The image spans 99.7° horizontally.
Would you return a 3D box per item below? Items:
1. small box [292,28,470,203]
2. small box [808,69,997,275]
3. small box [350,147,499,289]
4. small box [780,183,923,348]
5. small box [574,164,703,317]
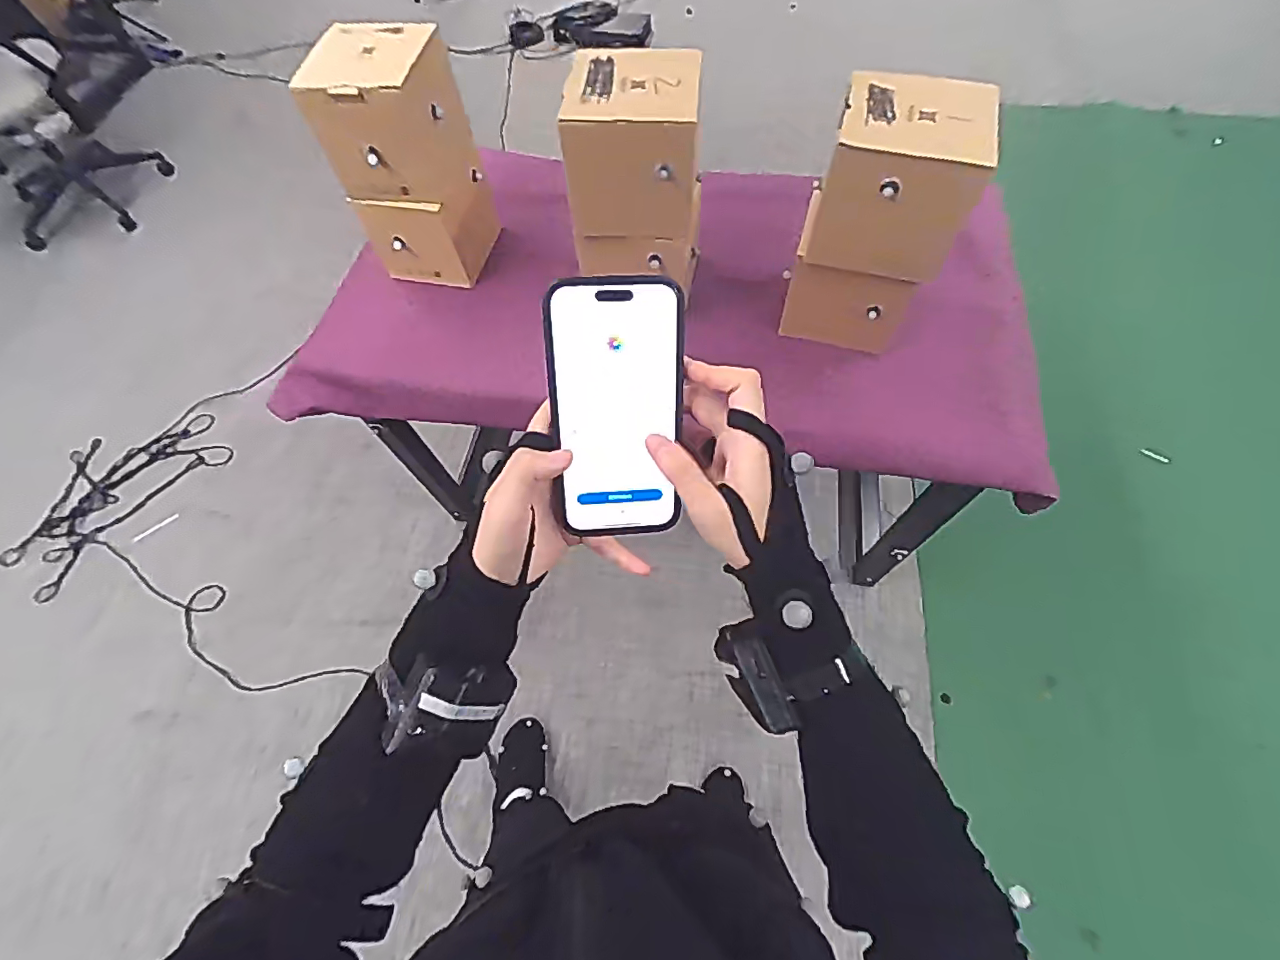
[{"bbox_3d":[-0.382,-0.556,0.837,0.168,0.176,0.179,5,63,5],"label":"small box"},{"bbox_3d":[0.330,-0.395,0.706,0.179,0.176,0.168,14,64,10],"label":"small box"},{"bbox_3d":[-0.374,-0.472,0.978,0.168,0.176,0.179,9,63,8],"label":"small box"},{"bbox_3d":[0.335,-0.334,0.859,0.179,0.176,0.168,14,64,12],"label":"small box"},{"bbox_3d":[0.004,-0.397,0.912,0.179,0.176,0.168,8,63,8],"label":"small box"}]
